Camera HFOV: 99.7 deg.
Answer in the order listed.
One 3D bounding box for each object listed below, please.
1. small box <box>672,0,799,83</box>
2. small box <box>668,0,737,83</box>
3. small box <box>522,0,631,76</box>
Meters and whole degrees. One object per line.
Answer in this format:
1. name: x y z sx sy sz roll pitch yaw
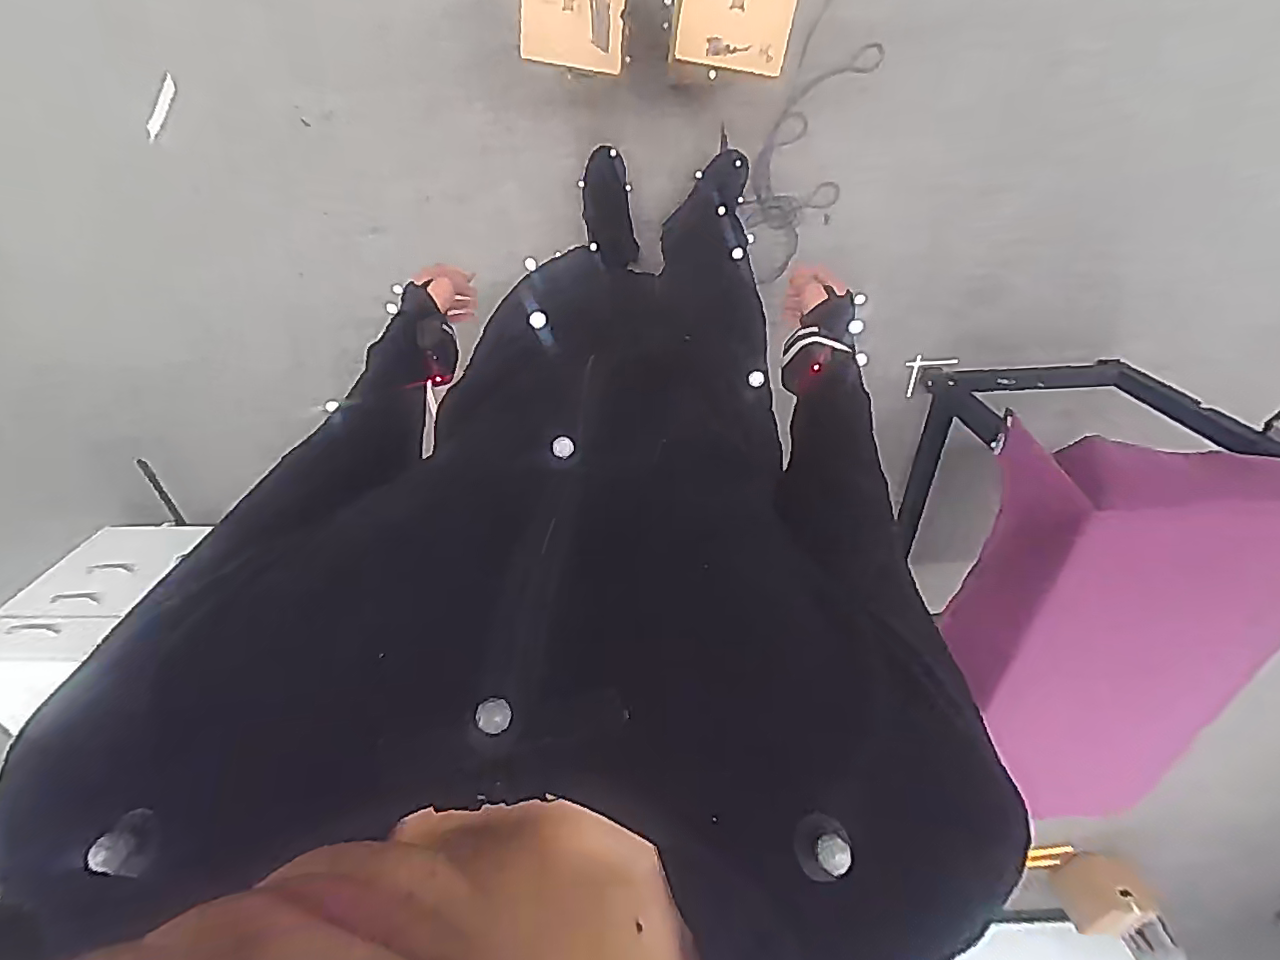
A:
1. small box: 0.145 -0.739 0.834 0.168 0.176 0.179 7 123 -5
2. small box: 0.144 -0.924 1.102 0.168 0.176 0.179 0 125 0
3. small box: -0.106 -0.833 0.959 0.179 0.176 0.168 7 123 -4
